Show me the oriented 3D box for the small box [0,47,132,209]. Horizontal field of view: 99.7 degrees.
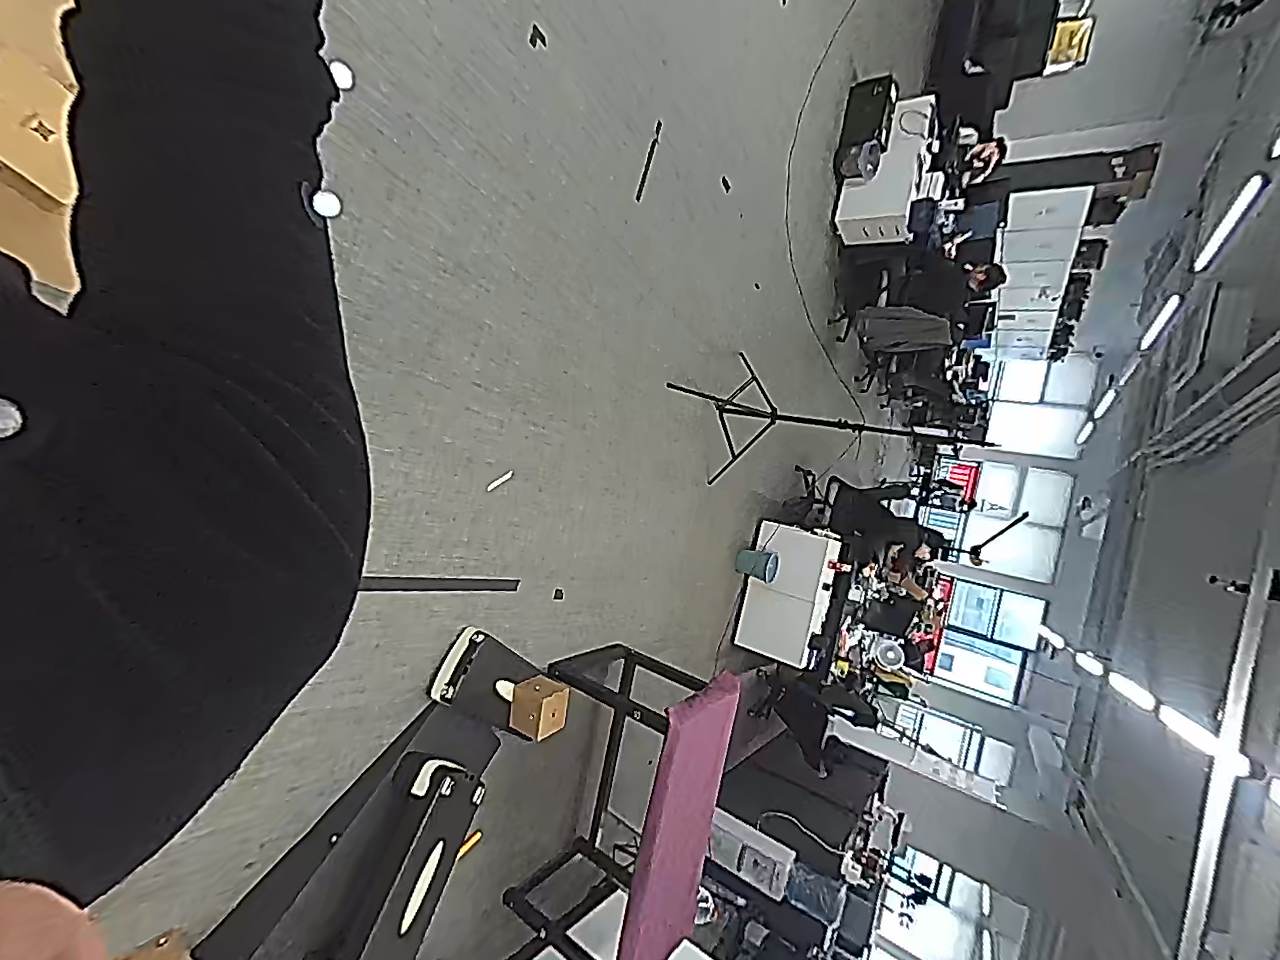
[{"bbox_3d":[-1.074,-0.610,0.962,0.179,0.176,0.168,47,64,-48],"label":"small box"}]
